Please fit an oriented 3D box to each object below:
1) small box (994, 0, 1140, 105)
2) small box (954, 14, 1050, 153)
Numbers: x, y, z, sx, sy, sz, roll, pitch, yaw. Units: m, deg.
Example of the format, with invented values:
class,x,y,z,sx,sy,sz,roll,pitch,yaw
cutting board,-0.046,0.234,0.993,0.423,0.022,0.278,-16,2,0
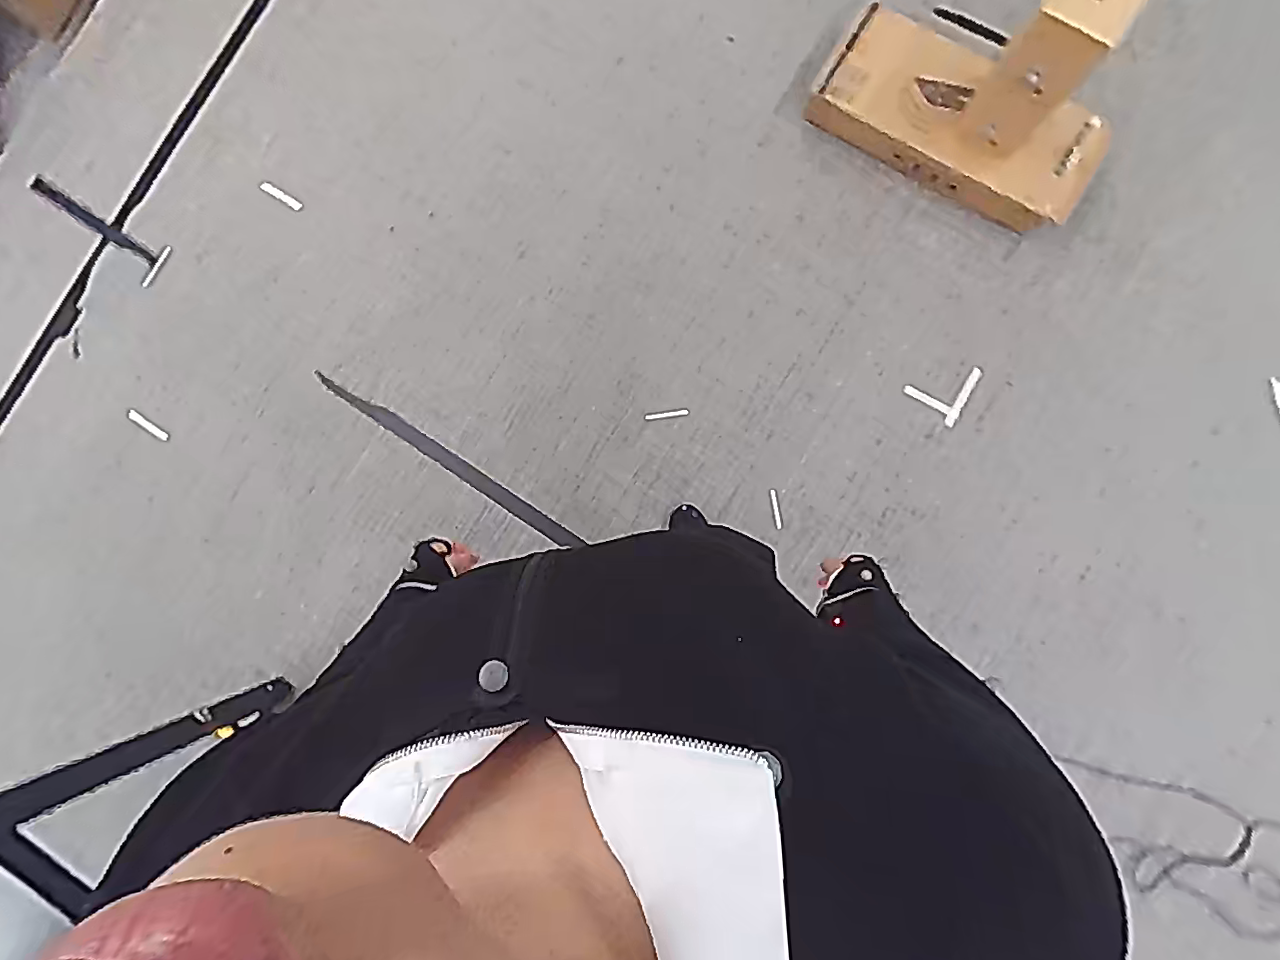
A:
class,x,y,z,sx,sy,sz,roll,pitch,yaw
small box,0.906,-0.962,1.150,0.168,0.176,0.179,35,89,6
small box,0.908,-0.954,1.315,0.168,0.176,0.179,31,89,6
